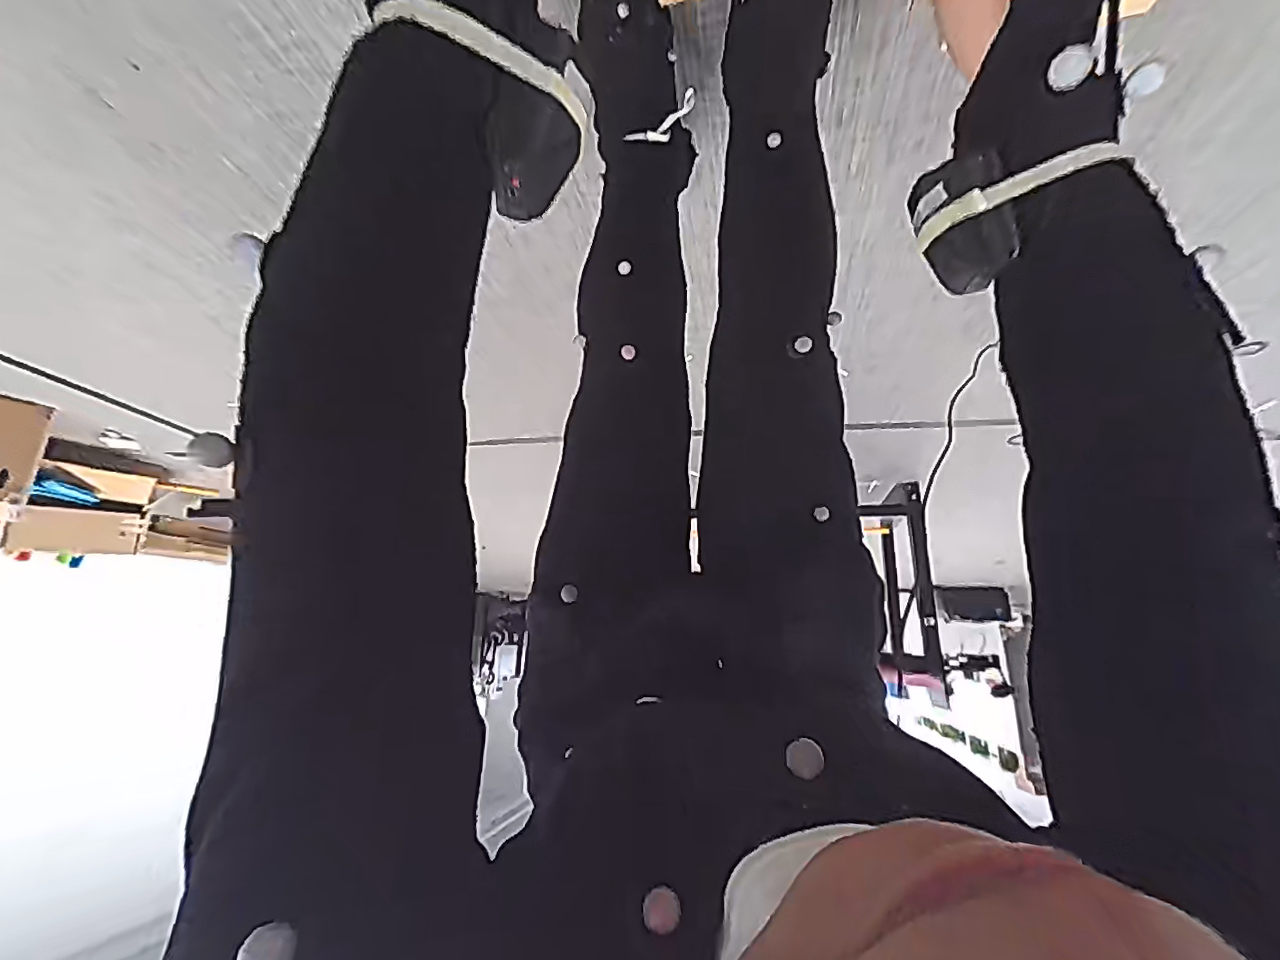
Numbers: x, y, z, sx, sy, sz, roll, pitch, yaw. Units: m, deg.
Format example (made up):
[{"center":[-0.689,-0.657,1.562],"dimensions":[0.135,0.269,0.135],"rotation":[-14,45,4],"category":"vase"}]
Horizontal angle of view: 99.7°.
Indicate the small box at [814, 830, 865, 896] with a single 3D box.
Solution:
[{"center":[0.781,1.500,2.132],"dimensions":[0.168,0.176,0.179],"rotation":[-2,162,13],"category":"small box"}]
